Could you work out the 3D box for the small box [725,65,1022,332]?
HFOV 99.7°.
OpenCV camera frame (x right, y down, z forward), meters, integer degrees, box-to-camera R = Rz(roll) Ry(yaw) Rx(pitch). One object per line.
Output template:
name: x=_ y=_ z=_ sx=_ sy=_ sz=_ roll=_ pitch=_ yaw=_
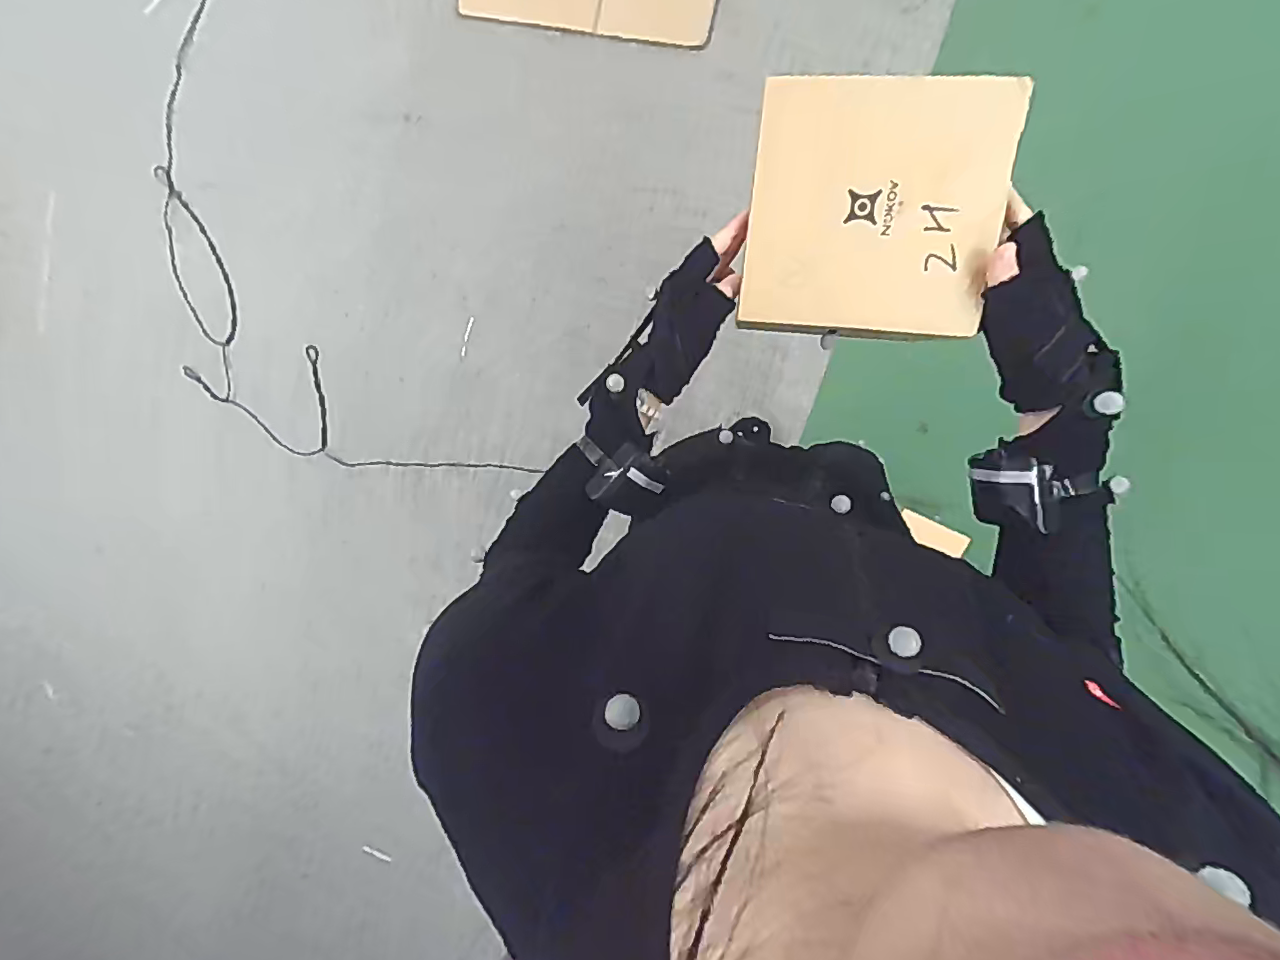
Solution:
small box: x=0.170 y=-0.217 z=0.459 sx=0.179 sy=0.176 sz=0.168 roll=7 pitch=106 yaw=8
